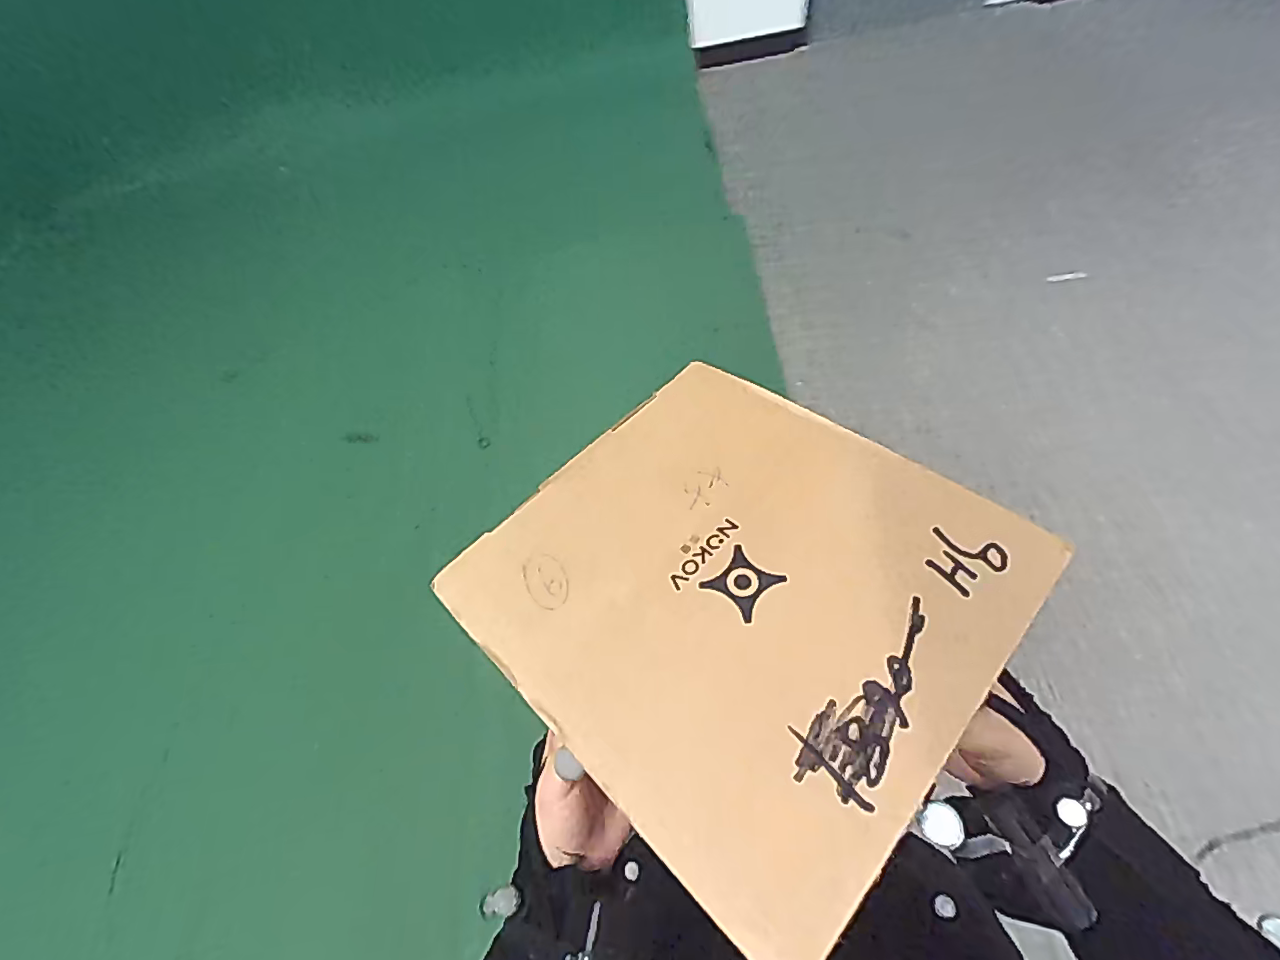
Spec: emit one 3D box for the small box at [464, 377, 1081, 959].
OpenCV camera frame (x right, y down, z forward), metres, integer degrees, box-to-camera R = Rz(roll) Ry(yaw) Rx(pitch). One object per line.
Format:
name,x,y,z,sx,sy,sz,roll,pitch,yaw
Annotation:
small box,0.053,0.086,0.270,0.179,0.176,0.168,35,68,31
